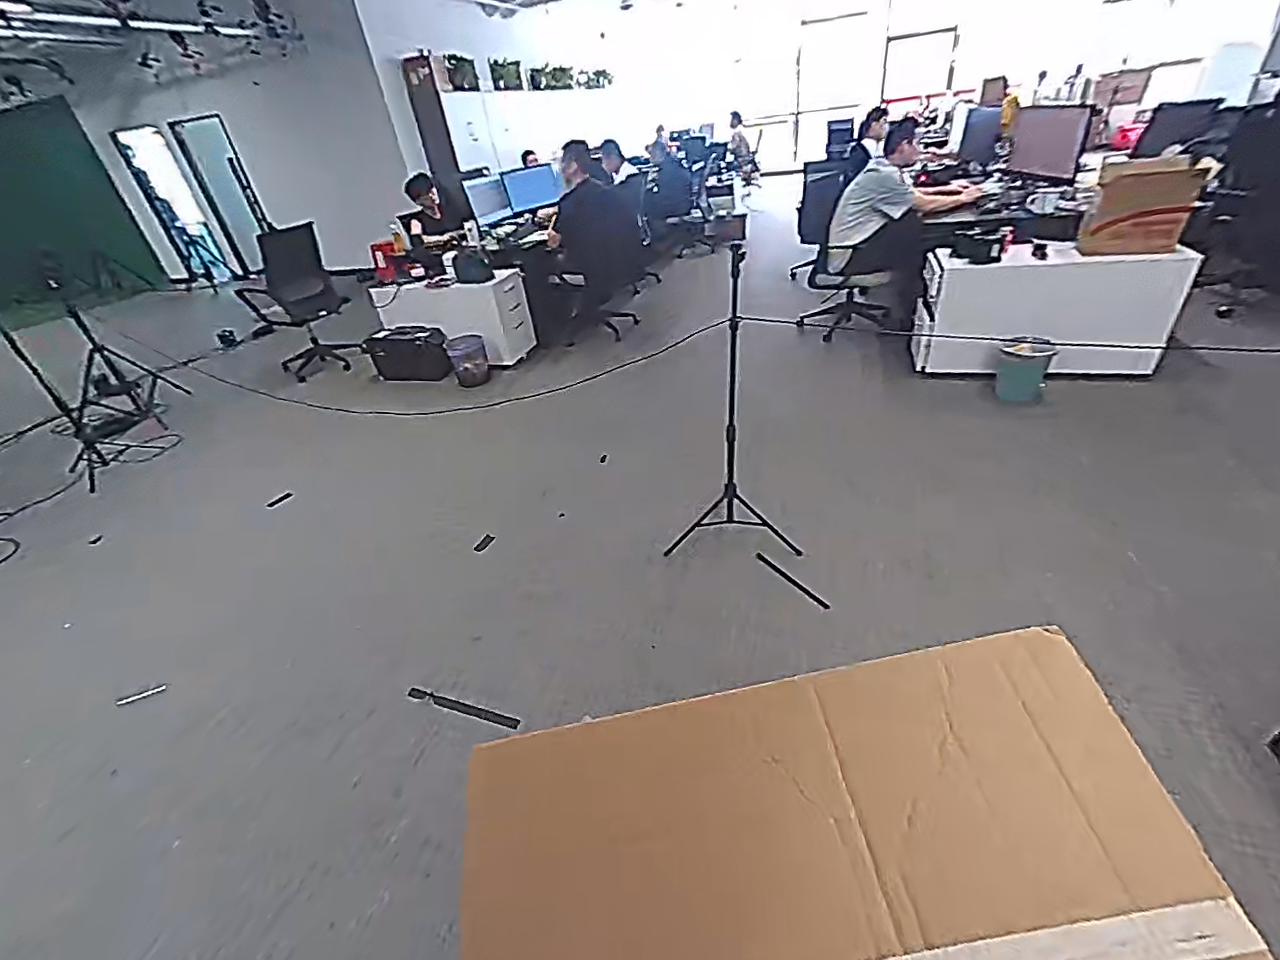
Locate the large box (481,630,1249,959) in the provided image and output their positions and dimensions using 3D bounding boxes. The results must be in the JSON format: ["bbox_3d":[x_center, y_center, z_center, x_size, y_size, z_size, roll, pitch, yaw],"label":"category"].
[{"bbox_3d":[0.130,0.352,0.407,0.408,0.320,0.320,-13,55,3],"label":"large box"}]
